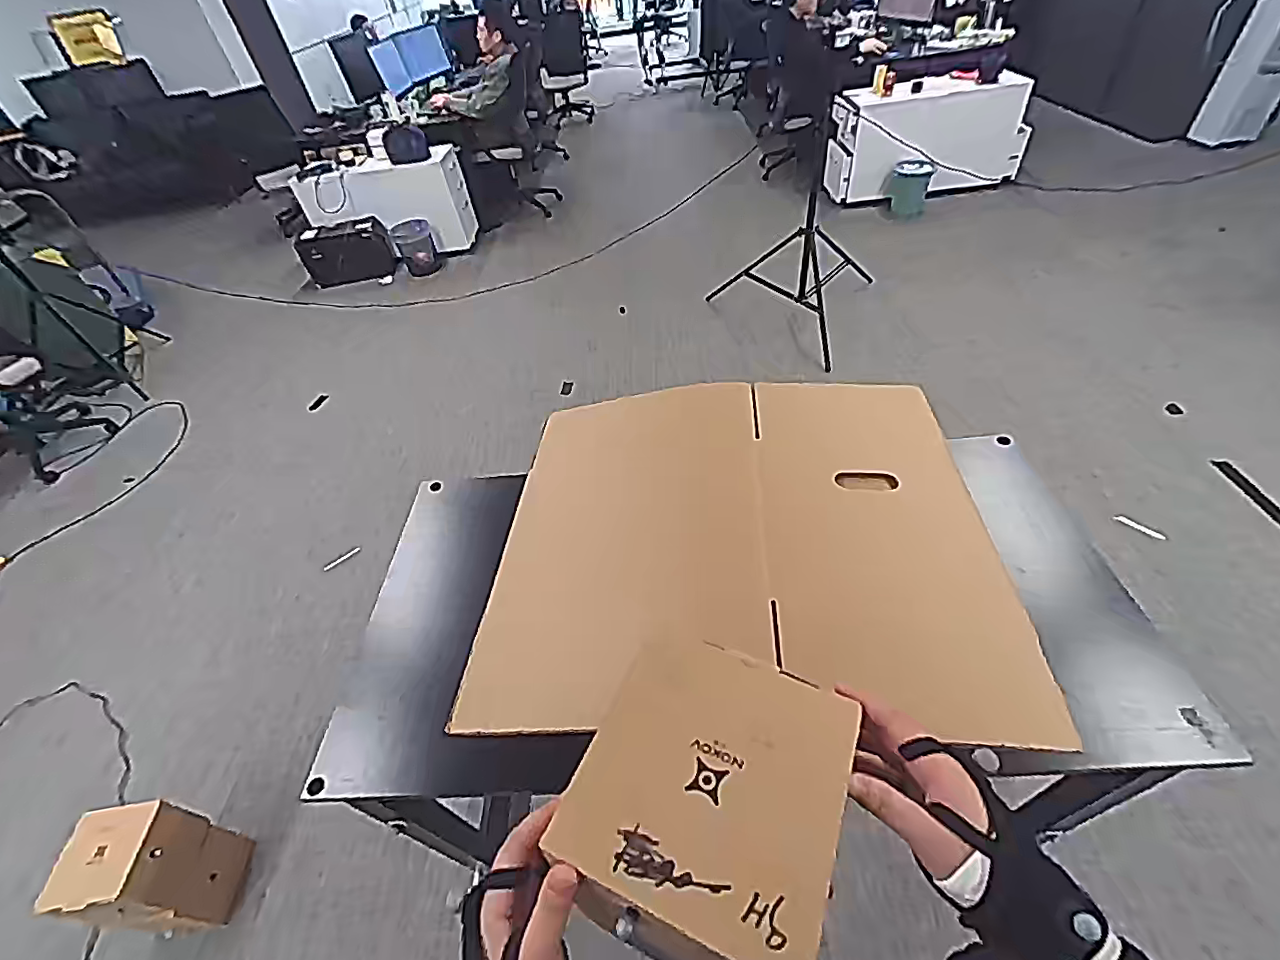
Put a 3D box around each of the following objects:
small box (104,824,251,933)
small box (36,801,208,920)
[{"bbox_3d":[-1.056,0.928,1.258,0.168,0.176,0.179,-8,46,2],"label":"small box"},{"bbox_3d":[-1.076,0.811,1.146,0.168,0.176,0.179,-9,45,-1],"label":"small box"}]
